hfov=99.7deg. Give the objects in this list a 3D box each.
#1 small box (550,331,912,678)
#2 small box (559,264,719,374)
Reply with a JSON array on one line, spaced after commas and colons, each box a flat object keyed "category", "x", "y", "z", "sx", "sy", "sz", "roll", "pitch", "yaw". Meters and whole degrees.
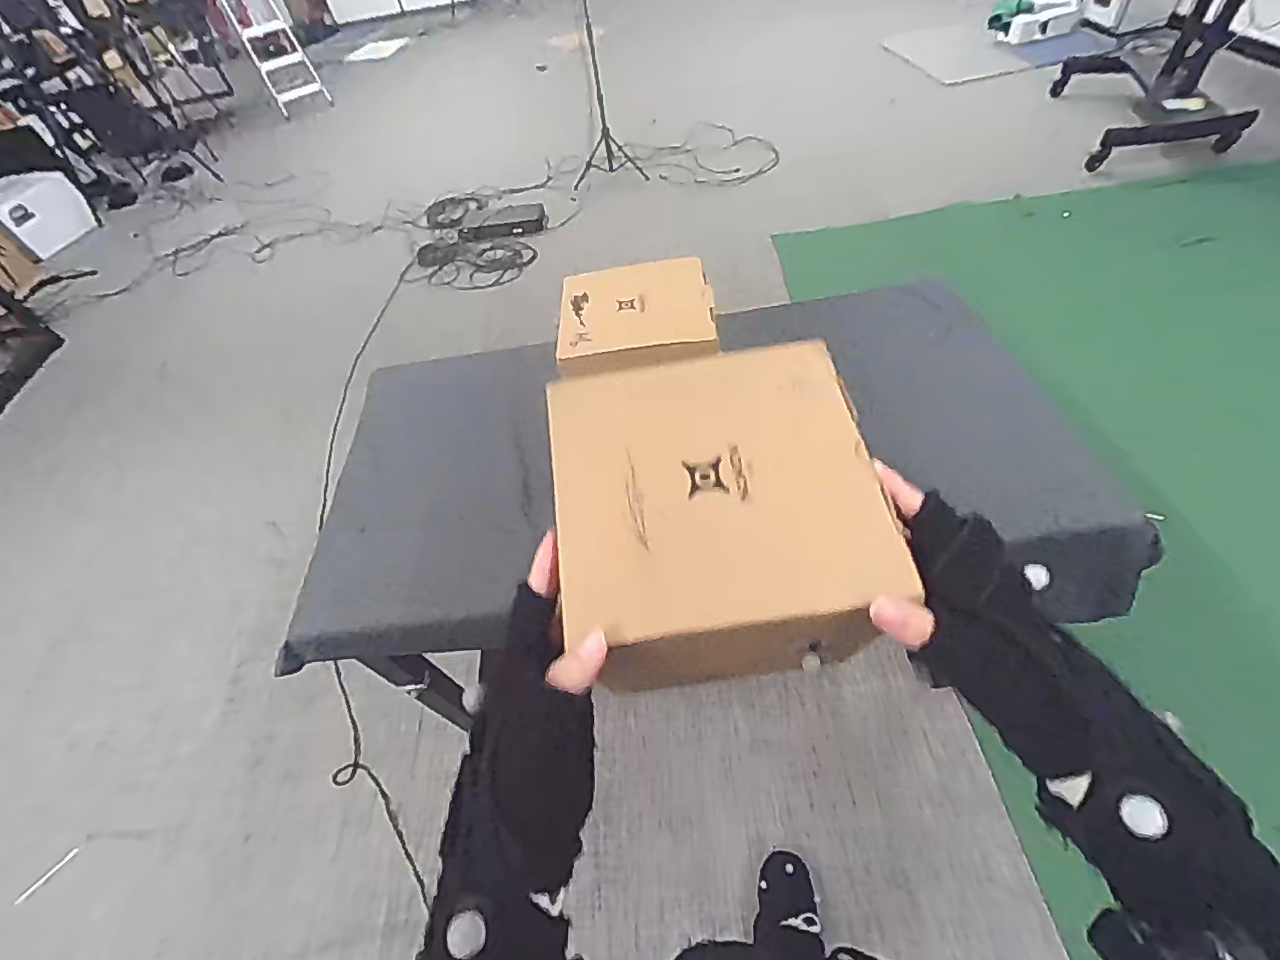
[{"category": "small box", "x": 0.046, "y": 0.028, "z": 0.374, "sx": 0.179, "sy": 0.176, "sz": 0.168, "roll": -11, "pitch": 60, "yaw": 1}, {"category": "small box", "x": 0.004, "y": -0.147, "z": 0.692, "sx": 0.179, "sy": 0.176, "sz": 0.168, "roll": -6, "pitch": 51, "yaw": 4}]
